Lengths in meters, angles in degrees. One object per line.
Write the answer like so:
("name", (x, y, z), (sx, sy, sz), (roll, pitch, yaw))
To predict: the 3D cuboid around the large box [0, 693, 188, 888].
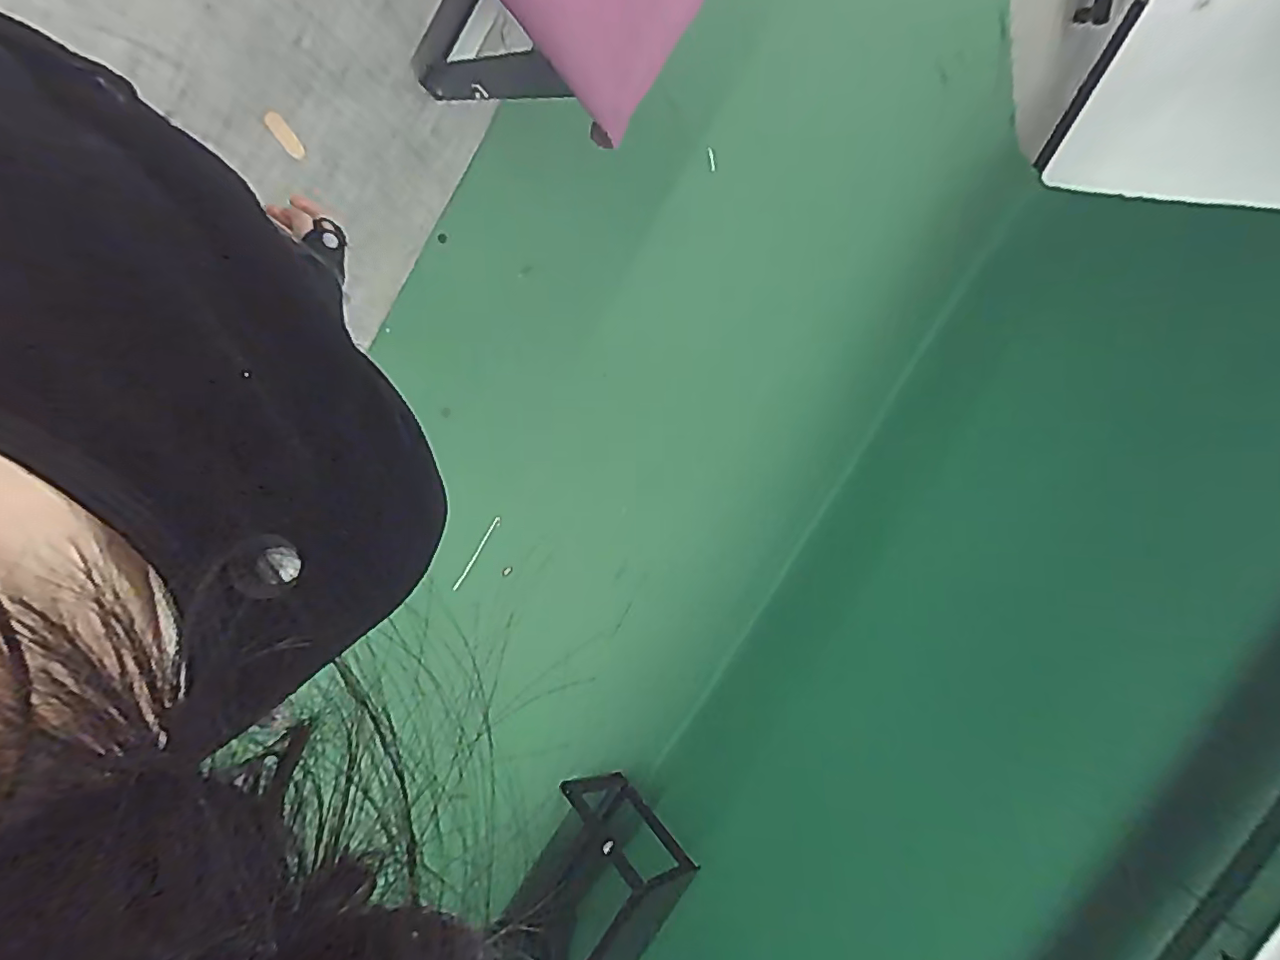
("large box", (-1.376, 0.772, 1.289), (0.408, 0.320, 0.320), (5, 114, -48))
